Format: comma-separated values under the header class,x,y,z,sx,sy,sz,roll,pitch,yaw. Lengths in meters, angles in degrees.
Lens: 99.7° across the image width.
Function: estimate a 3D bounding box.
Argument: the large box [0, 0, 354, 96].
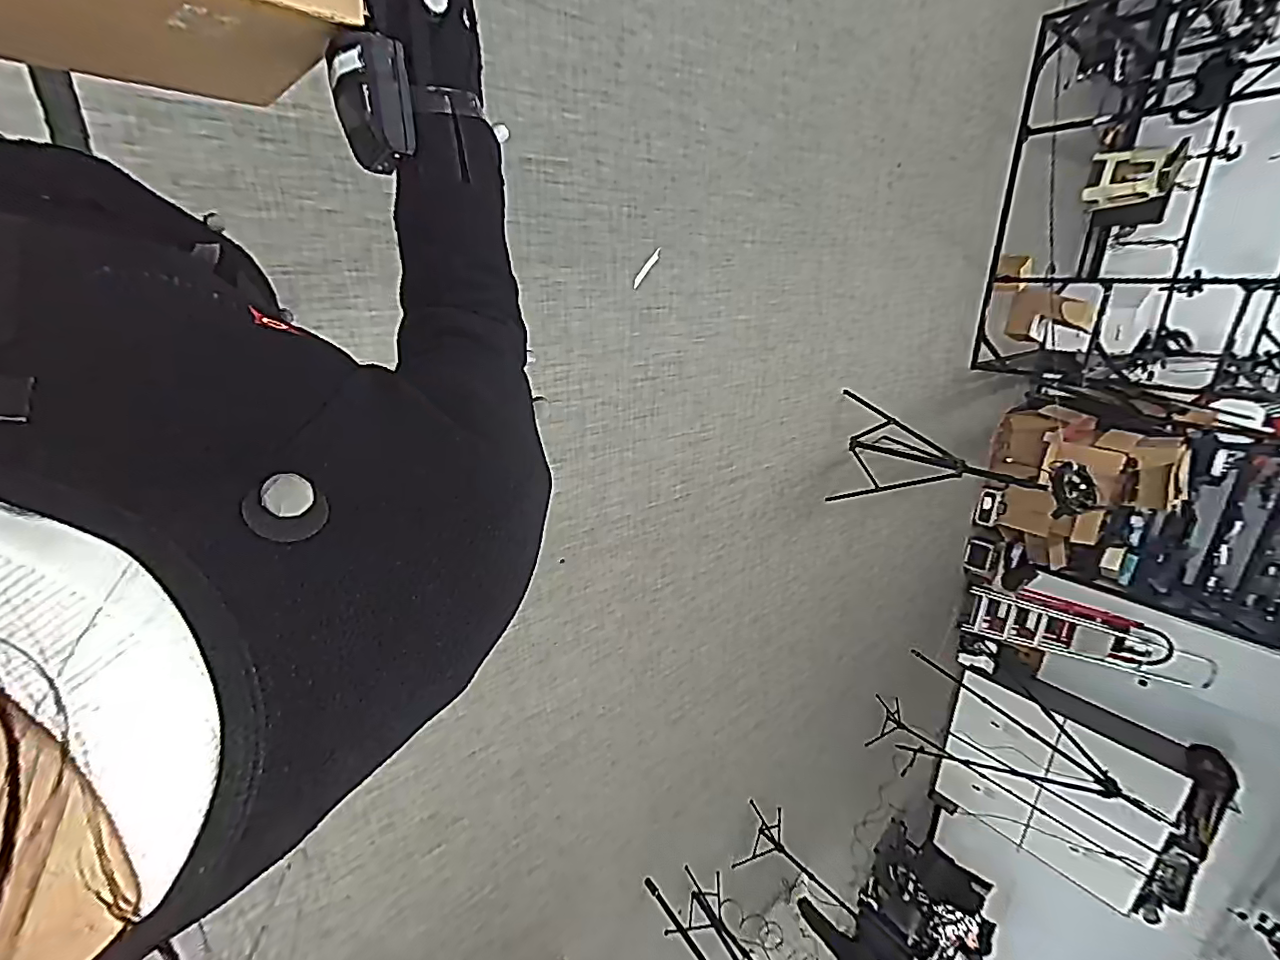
class,x,y,z,sx,sy,sz,roll,pitch,yaw
large box,-0.410,-0.413,0.240,0.408,0.320,0.320,-17,121,-39
